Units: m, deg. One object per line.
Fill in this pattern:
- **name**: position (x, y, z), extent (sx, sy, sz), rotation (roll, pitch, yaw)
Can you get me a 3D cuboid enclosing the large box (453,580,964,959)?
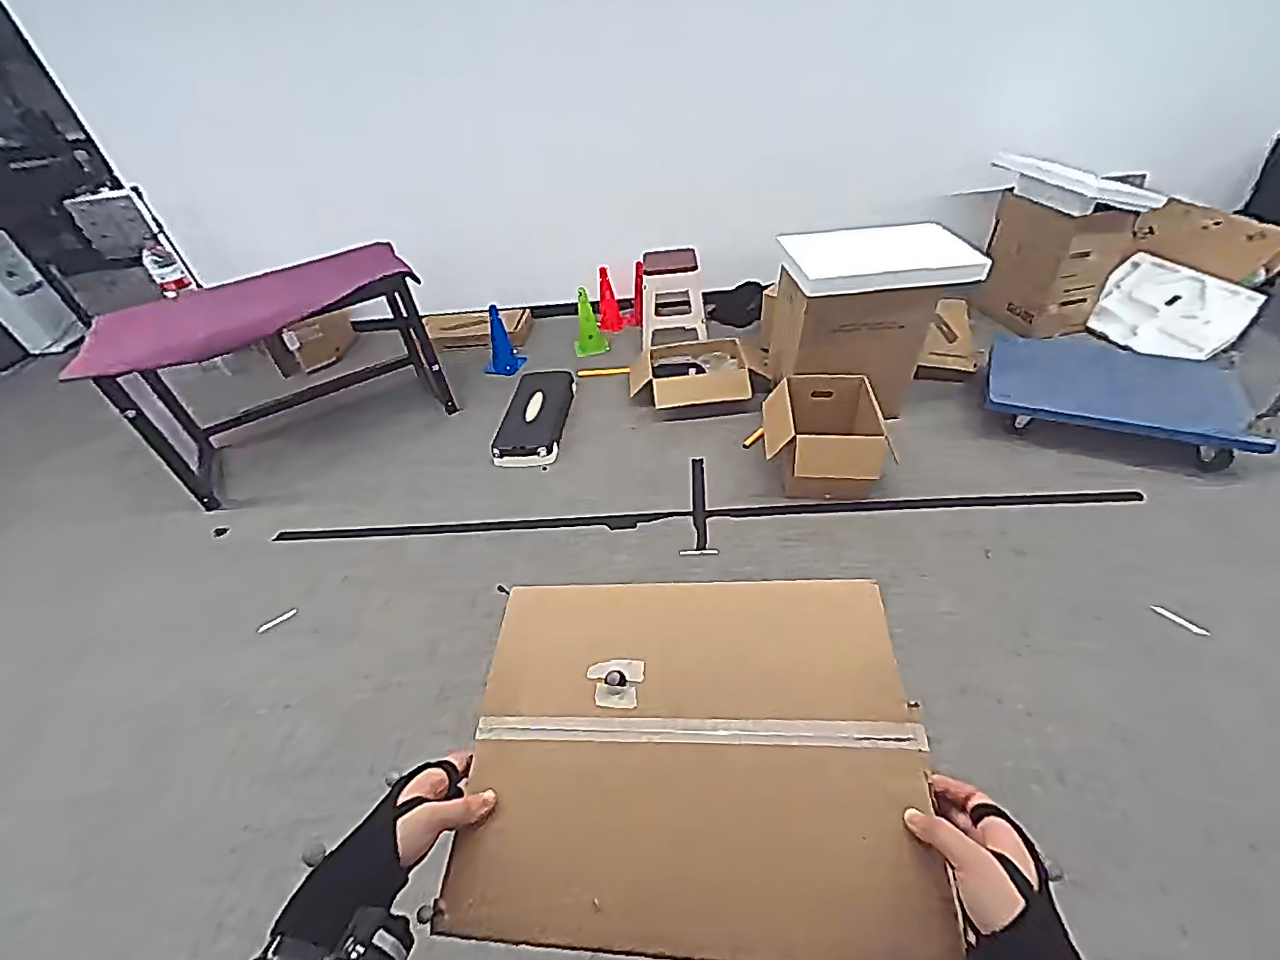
- **large box**: position (0.073, 0.336, 0.621), extent (0.408, 0.320, 0.320), rotation (-5, 48, 11)
